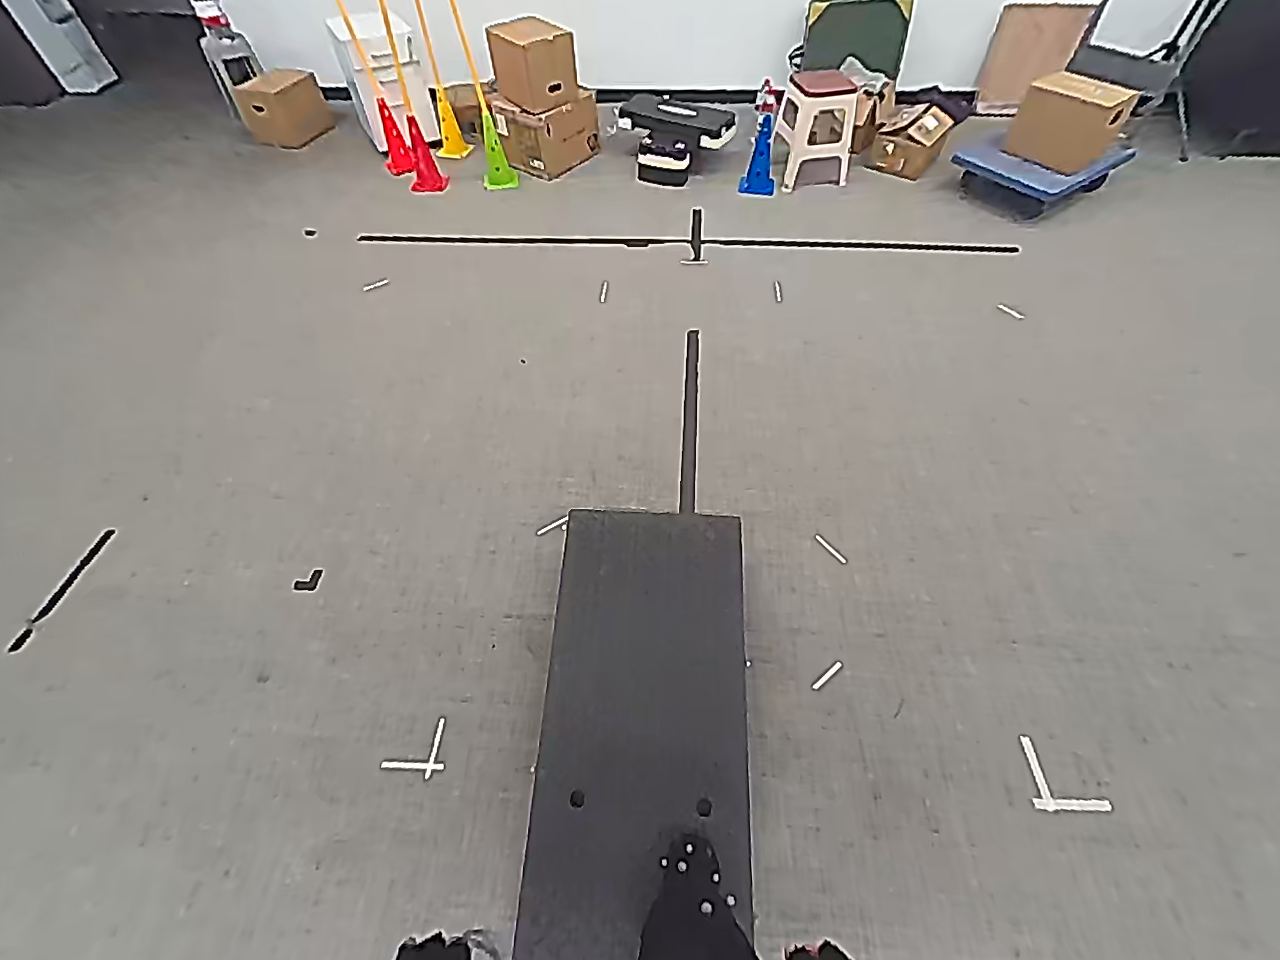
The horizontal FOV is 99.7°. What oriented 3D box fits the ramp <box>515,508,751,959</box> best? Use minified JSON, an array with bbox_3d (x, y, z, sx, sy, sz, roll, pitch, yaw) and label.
[{"bbox_3d":[0.014,0.535,1.318,0.509,0.206,0.991,2,53,1],"label":"ramp"}]
